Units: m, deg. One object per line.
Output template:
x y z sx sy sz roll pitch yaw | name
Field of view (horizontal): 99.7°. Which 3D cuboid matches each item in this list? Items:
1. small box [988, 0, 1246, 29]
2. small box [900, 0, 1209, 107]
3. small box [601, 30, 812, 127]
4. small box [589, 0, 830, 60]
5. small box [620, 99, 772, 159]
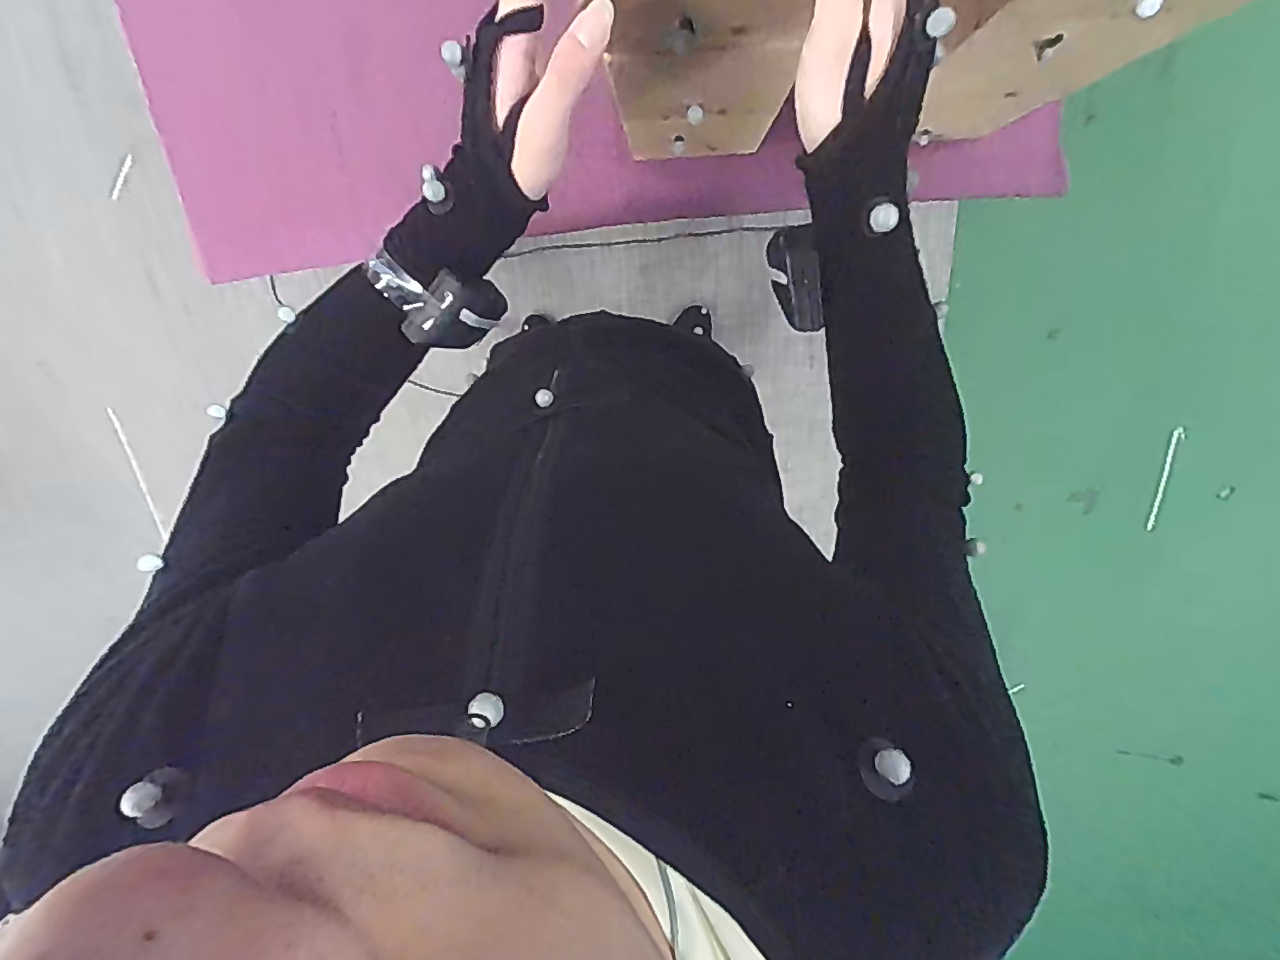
0.322 -0.384 0.288 0.168 0.176 0.179 2 110 5 | small box
0.335 -0.437 0.444 0.168 0.176 0.179 1 109 5 | small box
0.054 -0.436 0.470 0.168 0.176 0.179 -1 109 5 | small box
0.041 -0.385 0.313 0.168 0.176 0.179 -1 110 5 | small box
0.065 -0.487 0.626 0.168 0.176 0.179 -1 108 5 | small box
